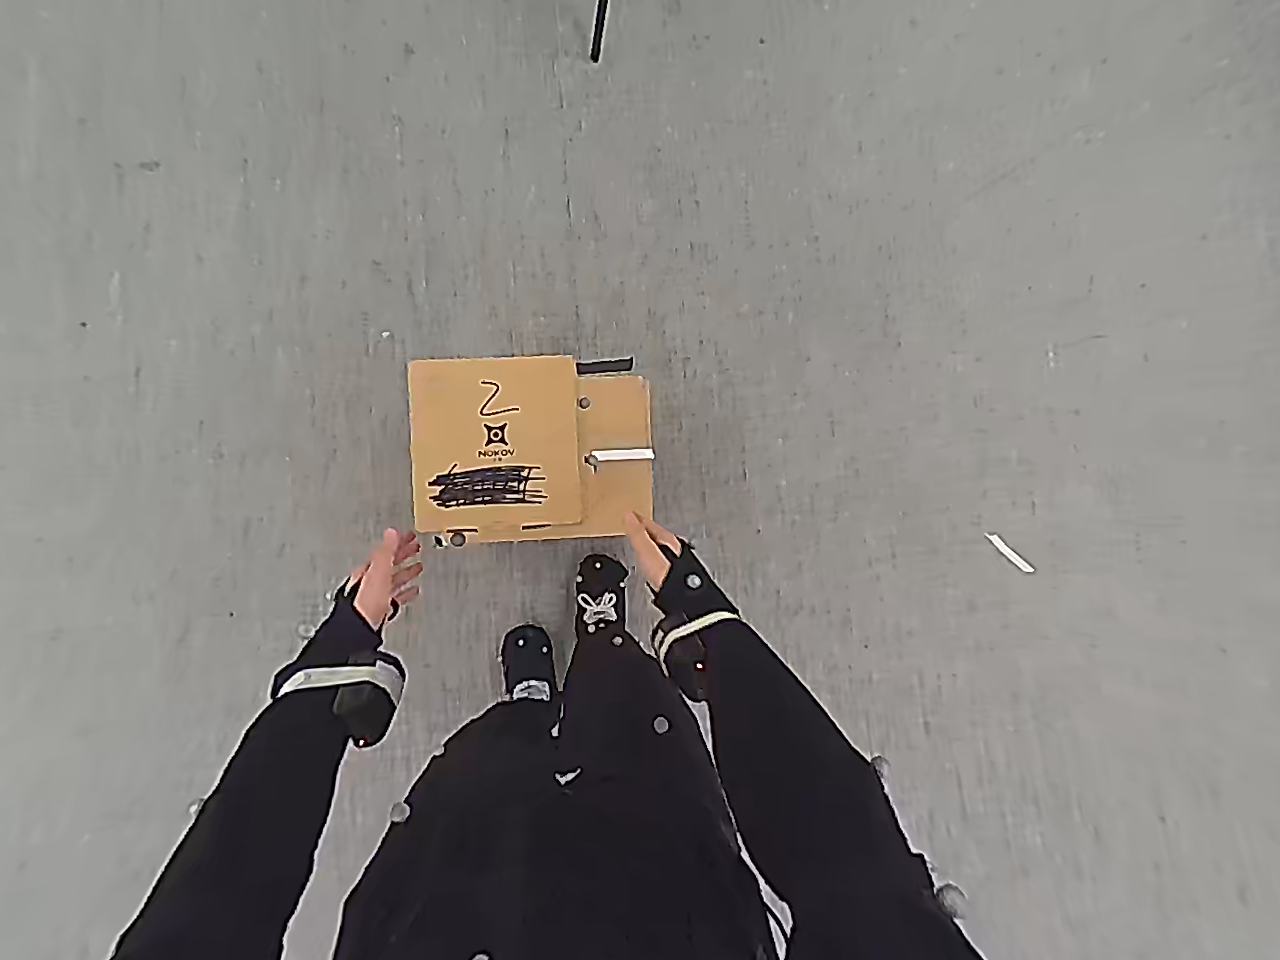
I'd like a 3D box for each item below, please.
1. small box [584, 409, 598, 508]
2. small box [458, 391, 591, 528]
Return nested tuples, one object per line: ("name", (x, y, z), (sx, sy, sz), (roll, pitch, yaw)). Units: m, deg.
("small box", (-0.167, -0.025, 0.950), (0.179, 0.176, 0.168), (-5, 88, -5))
("small box", (-0.159, -0.024, 0.788), (0.168, 0.176, 0.179), (-4, 89, -4))
